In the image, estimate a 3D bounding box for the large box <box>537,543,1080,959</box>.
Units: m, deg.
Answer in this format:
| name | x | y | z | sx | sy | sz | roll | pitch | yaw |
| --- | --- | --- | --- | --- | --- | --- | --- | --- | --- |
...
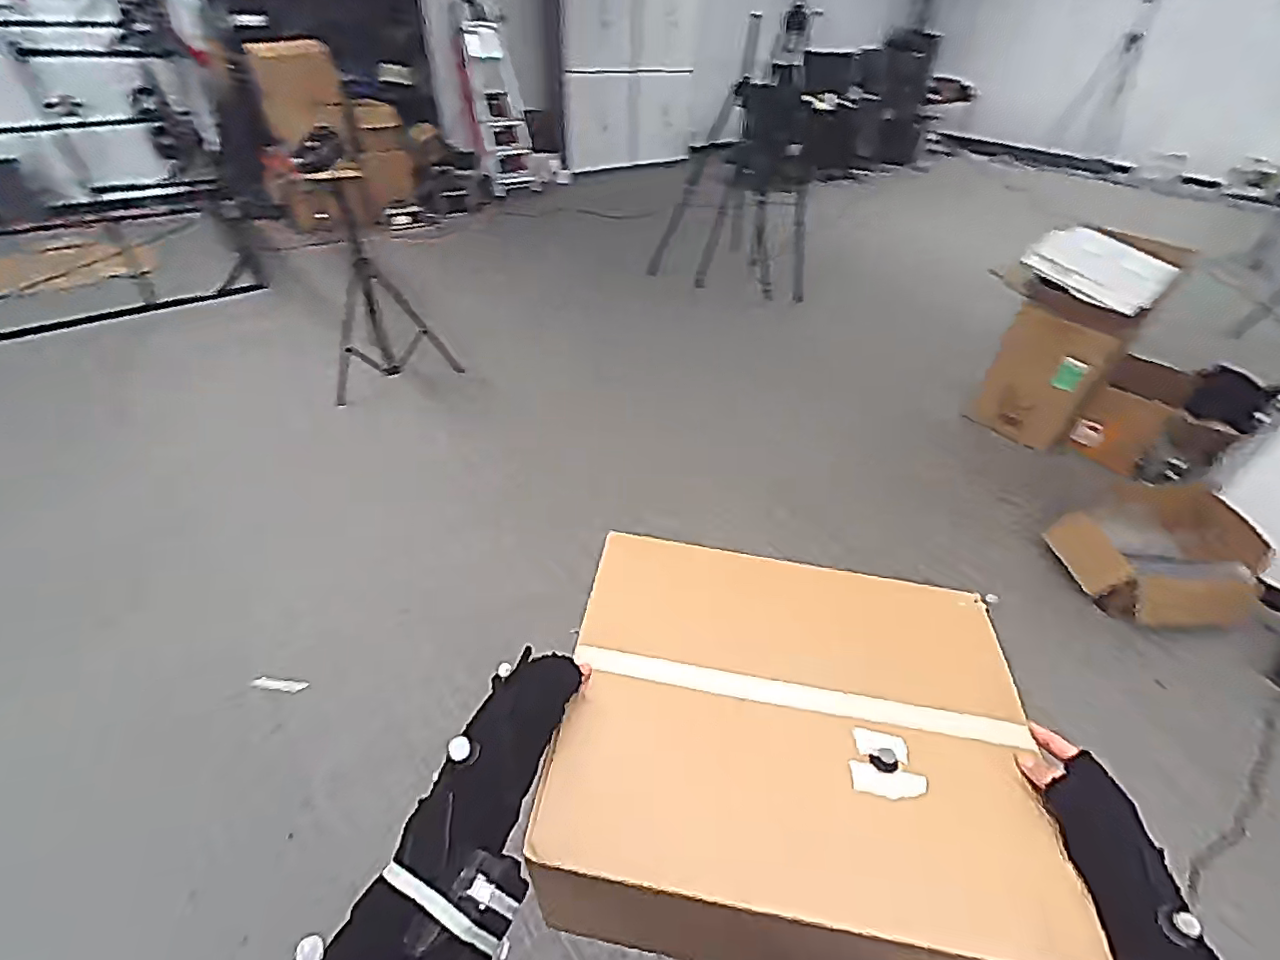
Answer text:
| name | x | y | z | sx | sy | sz | roll | pitch | yaw |
| --- | --- | --- | --- | --- | --- | --- | --- | --- | --- |
| large box | 0.124 | 0.308 | 0.597 | 0.408 | 0.320 | 0.320 | 9 | 43 | 3 |
